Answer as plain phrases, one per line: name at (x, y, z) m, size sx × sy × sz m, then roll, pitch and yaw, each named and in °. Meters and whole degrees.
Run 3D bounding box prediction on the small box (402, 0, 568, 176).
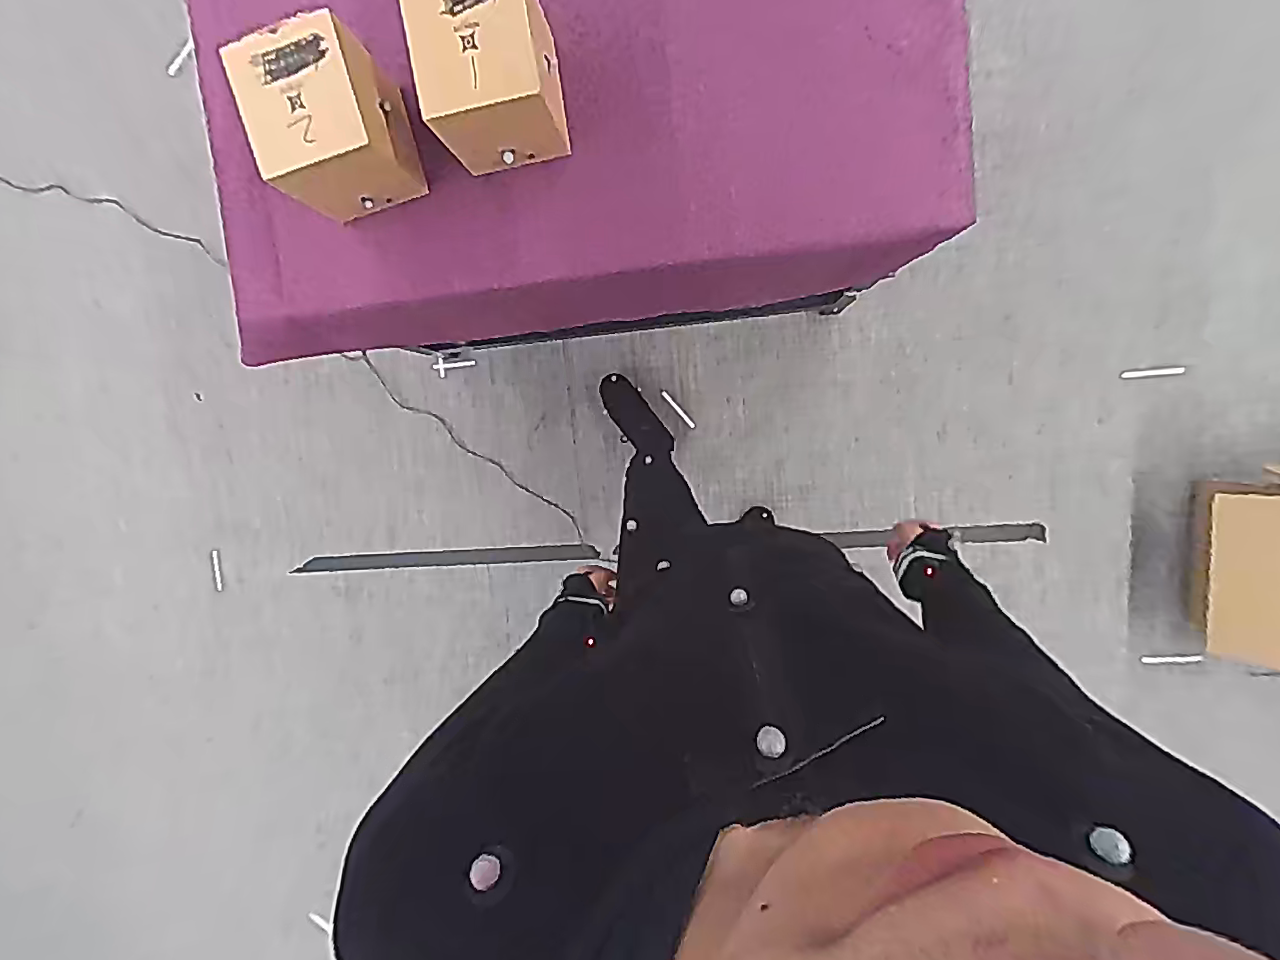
small box at (-0.211, -0.575, 0.775) m, size 0.168 × 0.176 × 0.179 m, roll -8°, pitch 95°, yaw 7°
